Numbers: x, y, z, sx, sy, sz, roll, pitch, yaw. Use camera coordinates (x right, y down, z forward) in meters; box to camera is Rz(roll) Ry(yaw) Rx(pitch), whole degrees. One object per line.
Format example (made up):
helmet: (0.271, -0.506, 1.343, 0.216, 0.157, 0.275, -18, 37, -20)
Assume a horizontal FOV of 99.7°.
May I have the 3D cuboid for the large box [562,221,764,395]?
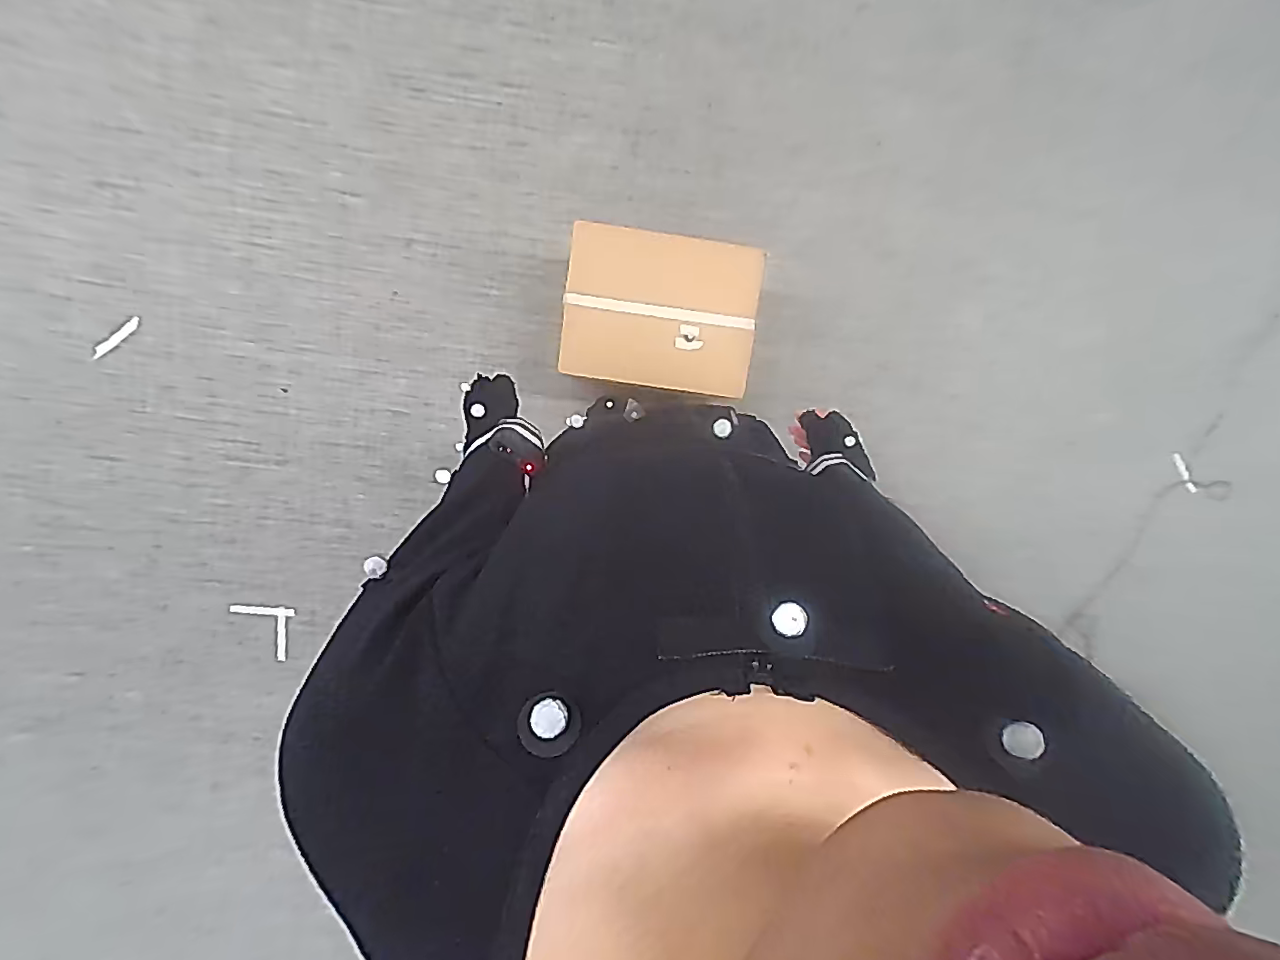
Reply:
large box: (0.036, -0.380, 1.281, 0.408, 0.320, 0.320, 7, 99, -4)
